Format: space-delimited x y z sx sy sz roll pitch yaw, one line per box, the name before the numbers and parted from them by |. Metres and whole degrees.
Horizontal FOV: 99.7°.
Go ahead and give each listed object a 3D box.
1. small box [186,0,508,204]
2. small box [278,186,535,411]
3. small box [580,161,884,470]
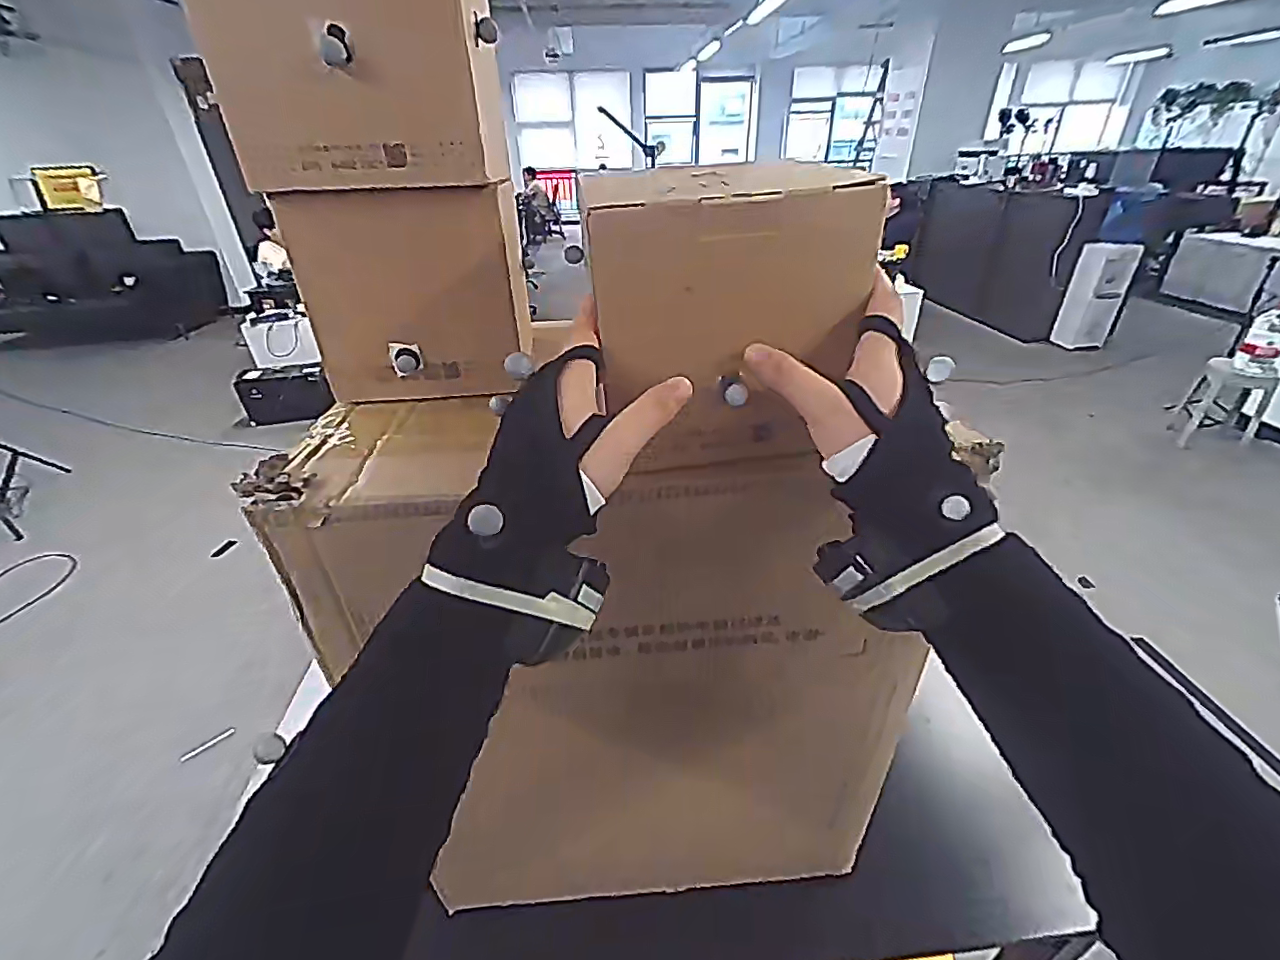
small box | -0.201 -0.310 0.415 0.168 0.176 0.179 -5 32 -5
small box | -0.194 -0.178 0.514 0.168 0.176 0.179 -7 32 -6
small box | 0.047 -0.127 0.399 0.168 0.176 0.179 -8 35 -3
